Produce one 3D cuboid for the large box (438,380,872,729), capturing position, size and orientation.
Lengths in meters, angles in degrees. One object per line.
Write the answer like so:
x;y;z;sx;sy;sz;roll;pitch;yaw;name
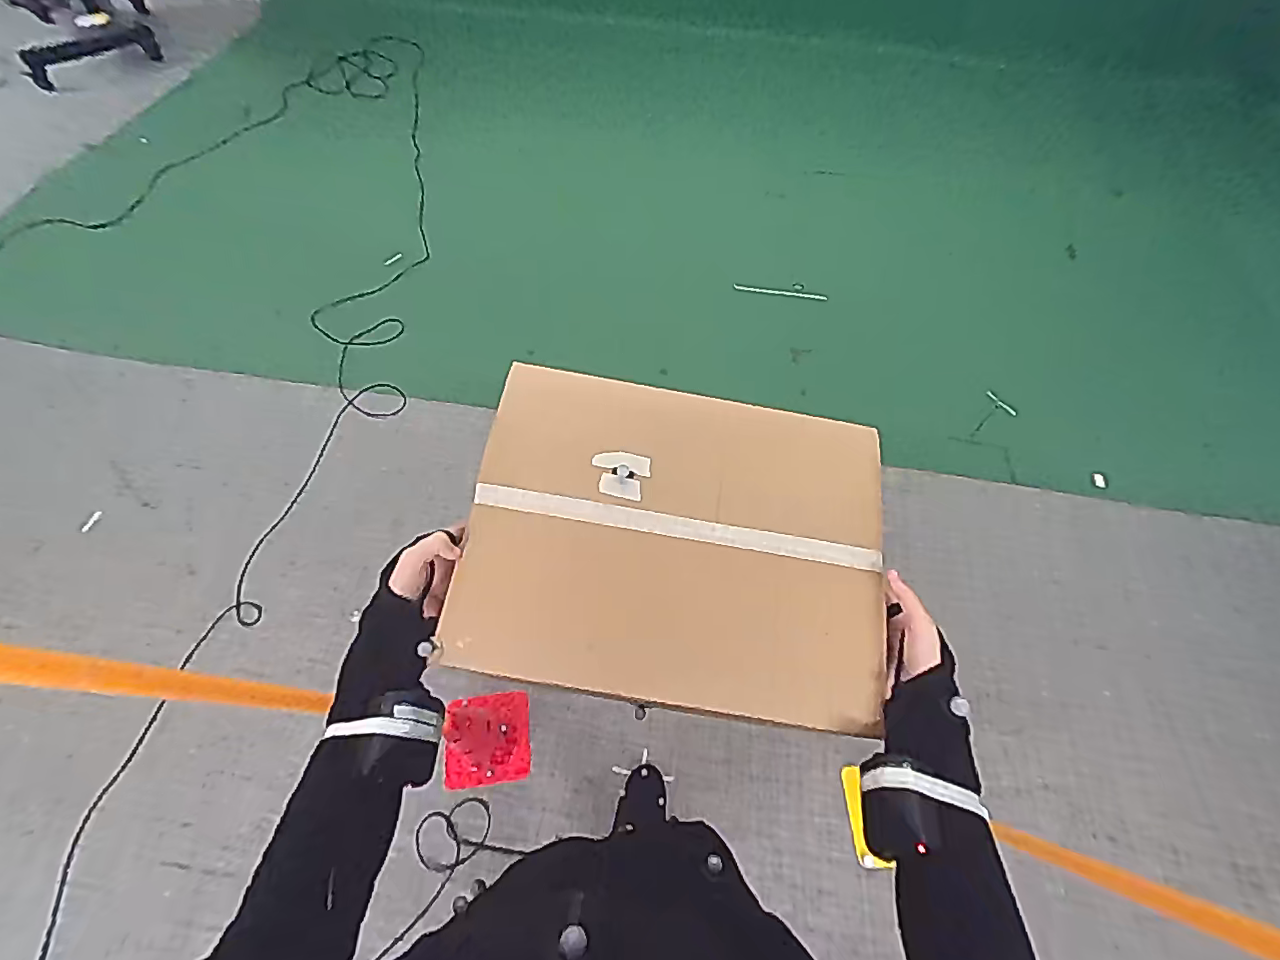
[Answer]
0.025;0.112;0.679;0.408;0.320;0.320;9;67;-1;large box
